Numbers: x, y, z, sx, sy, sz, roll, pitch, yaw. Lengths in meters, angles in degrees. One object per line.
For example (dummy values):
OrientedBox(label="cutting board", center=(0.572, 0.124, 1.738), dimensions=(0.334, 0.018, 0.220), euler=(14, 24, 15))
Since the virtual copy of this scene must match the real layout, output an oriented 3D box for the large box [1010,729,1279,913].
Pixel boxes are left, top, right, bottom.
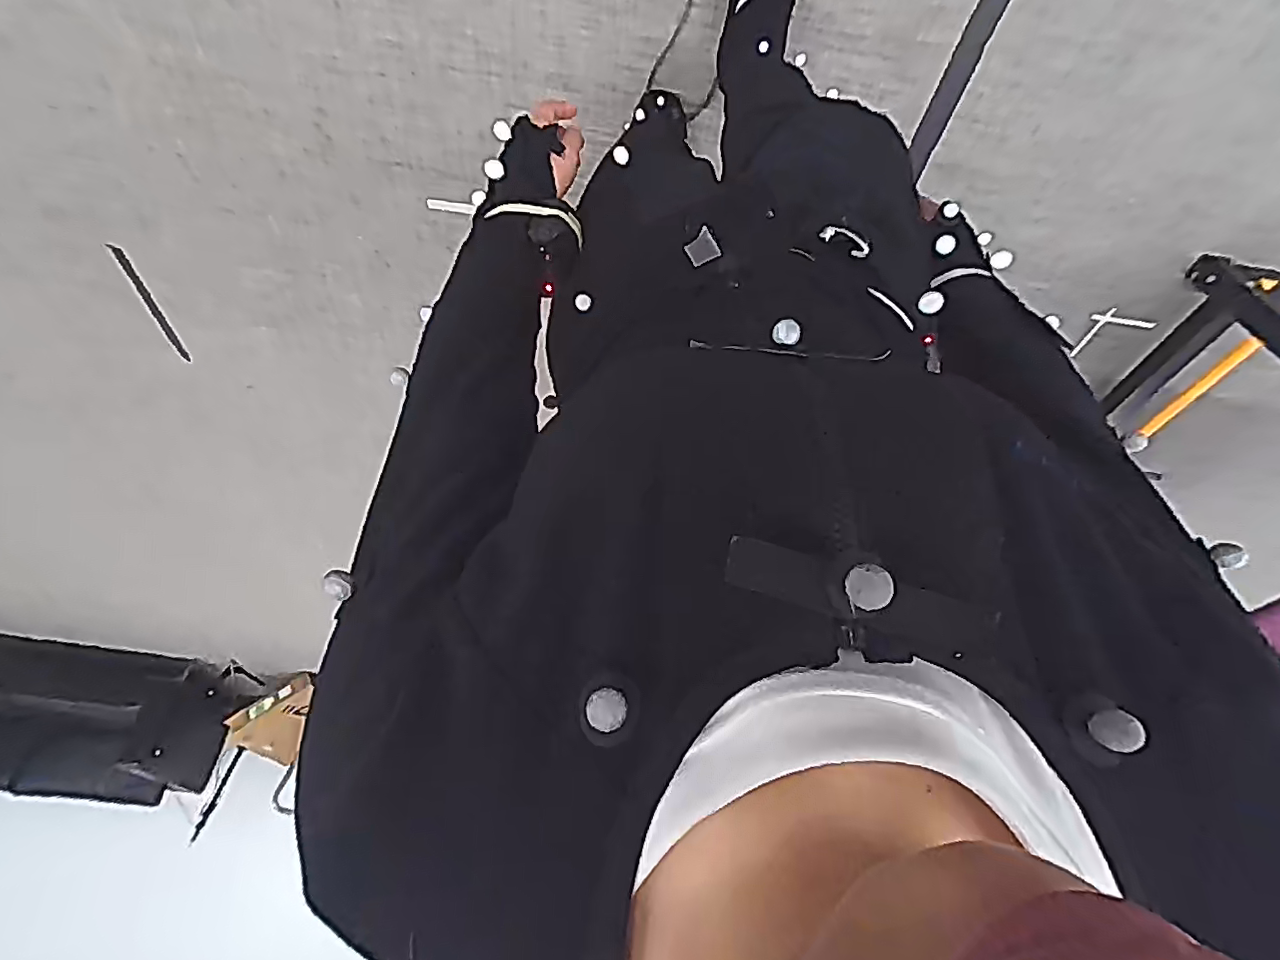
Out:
OrientedBox(label="large box", center=(1.223, 0.819, 1.300), dimensions=(0.408, 0.320, 0.320), euler=(8, 140, -2))
